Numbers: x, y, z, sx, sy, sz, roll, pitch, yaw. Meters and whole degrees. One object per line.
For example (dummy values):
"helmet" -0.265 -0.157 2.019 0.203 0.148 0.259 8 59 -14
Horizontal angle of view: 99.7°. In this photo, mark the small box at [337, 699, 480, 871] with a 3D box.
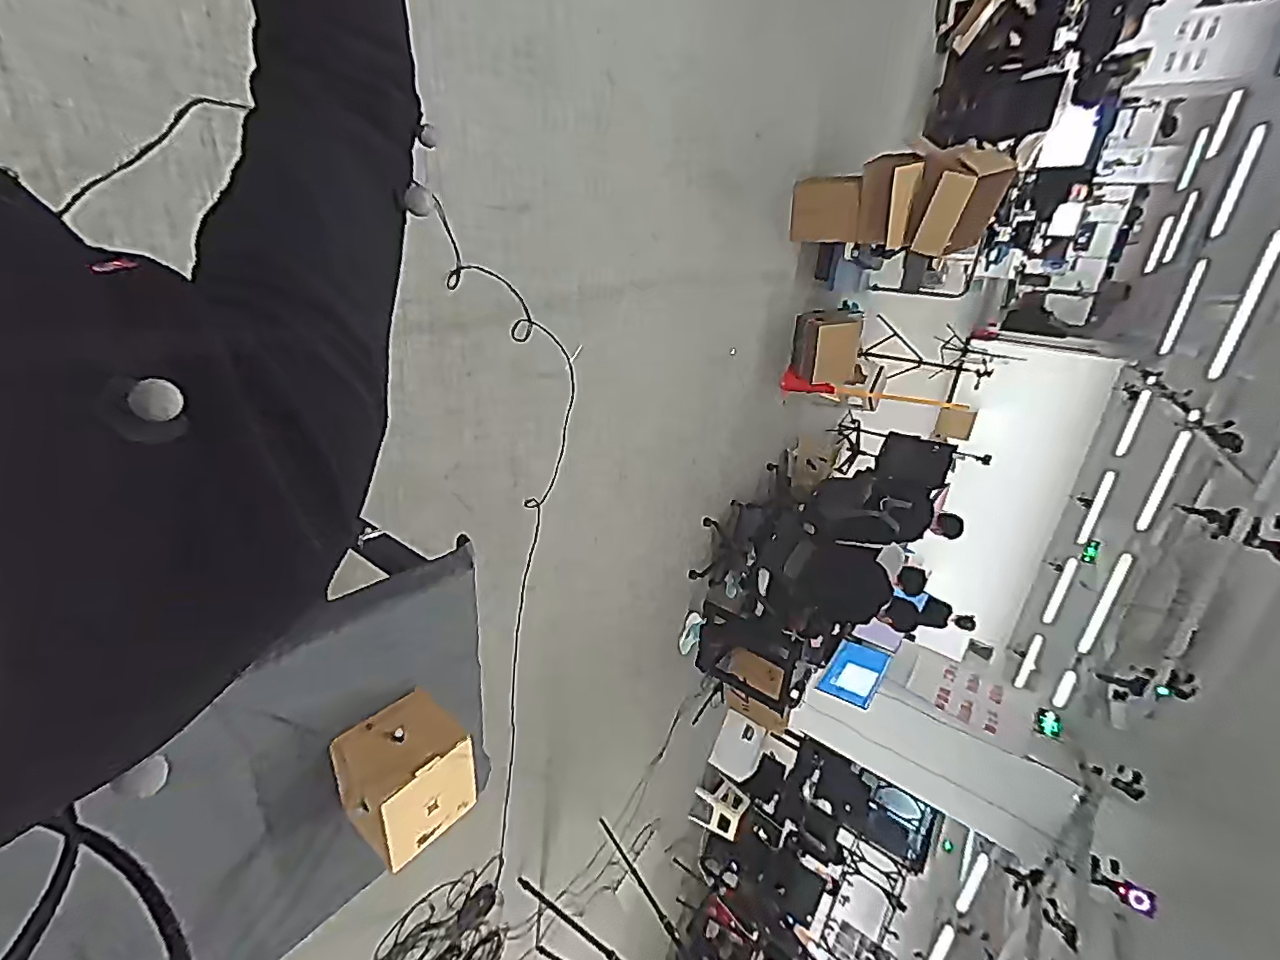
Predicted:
"small box" -0.407 0.518 0.953 0.168 0.176 0.179 -24 125 -47
